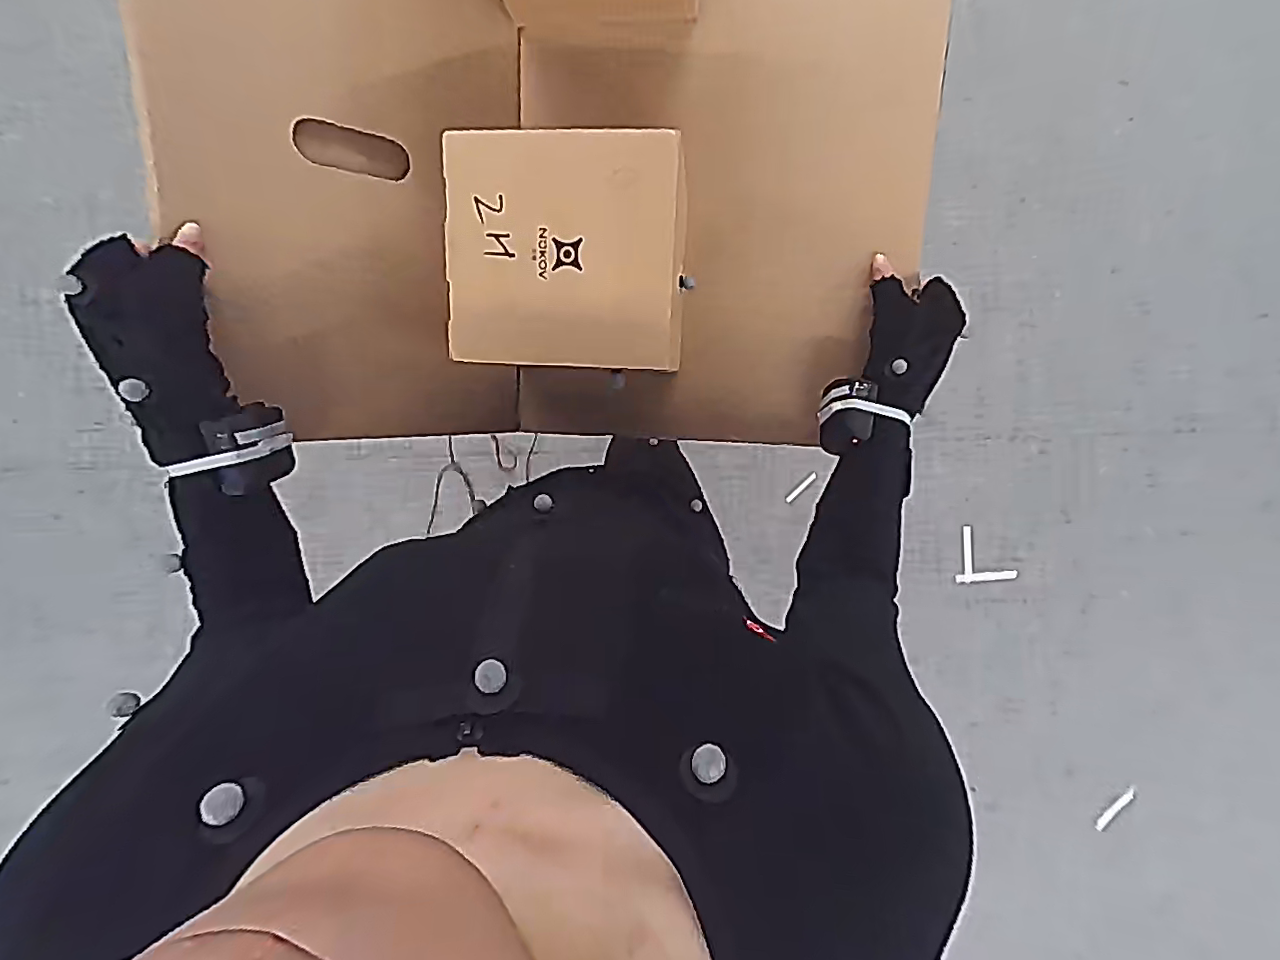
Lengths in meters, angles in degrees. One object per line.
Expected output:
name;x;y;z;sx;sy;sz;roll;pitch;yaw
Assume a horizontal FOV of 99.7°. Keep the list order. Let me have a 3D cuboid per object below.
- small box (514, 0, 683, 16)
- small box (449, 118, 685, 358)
small box;-0.043;-0.510;0.426;0.179;0.176;0.168;2;102;6
small box;-0.052;-0.199;0.488;0.179;0.176;0.168;4;102;6
